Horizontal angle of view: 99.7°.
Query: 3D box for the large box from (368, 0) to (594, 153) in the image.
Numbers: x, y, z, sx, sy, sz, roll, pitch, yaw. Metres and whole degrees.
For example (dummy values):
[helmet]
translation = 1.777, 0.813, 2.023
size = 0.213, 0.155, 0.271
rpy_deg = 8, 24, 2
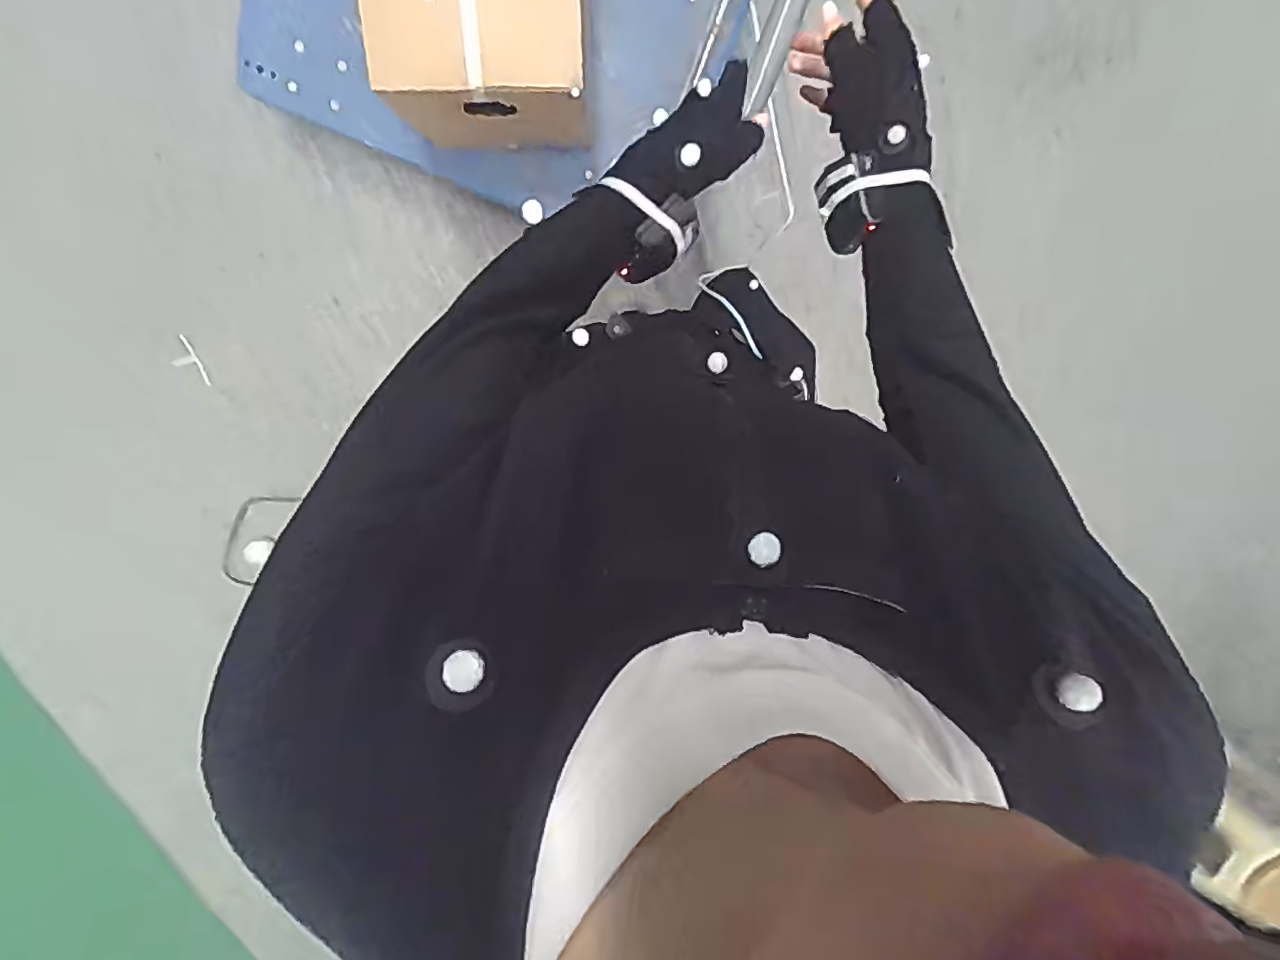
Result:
[large box]
translation = -0.243, -0.806, 0.893
size = 0.320, 0.320, 0.408
rpy_deg = -1, 108, -1
